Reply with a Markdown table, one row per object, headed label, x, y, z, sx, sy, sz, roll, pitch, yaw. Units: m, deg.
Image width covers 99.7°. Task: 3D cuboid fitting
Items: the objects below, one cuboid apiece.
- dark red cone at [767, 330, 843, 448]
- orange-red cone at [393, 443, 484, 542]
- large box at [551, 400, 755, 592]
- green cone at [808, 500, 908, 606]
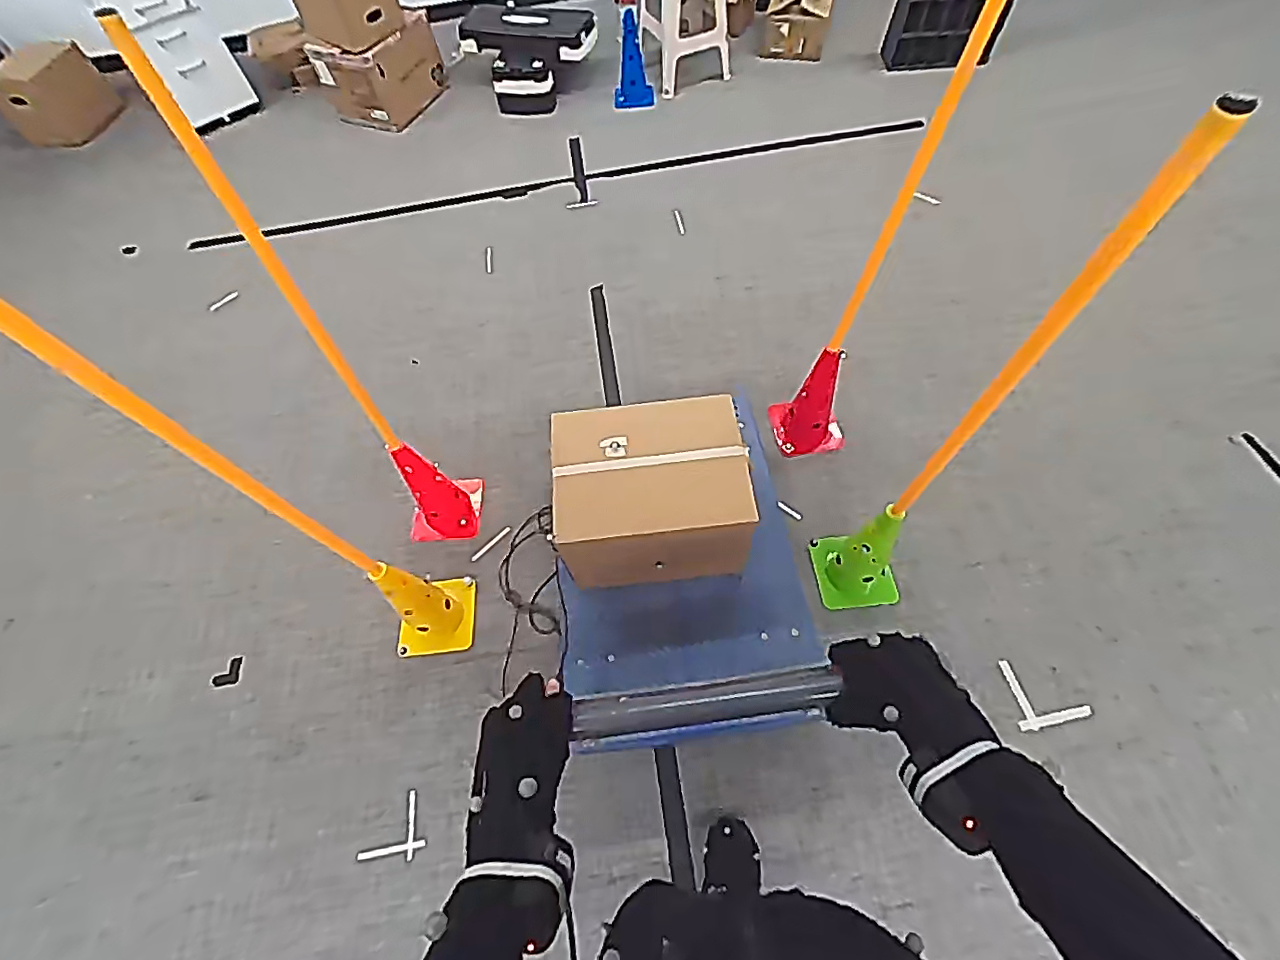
| label | x | y | z | sx | sy | sz | roll | pitch | yaw |
| --- | --- | --- | --- | --- | --- | --- | --- | --- | --- |
| dark red cone | 0.506 | -0.271 | 1.547 | 0.201 | 0.394 | 0.202 | -9 | 60 | -3 |
| orange-red cone | -0.592 | 0.010 | 1.503 | 0.198 | 0.360 | 0.199 | -3 | 59 | 2 |
| large box | 0.027 | 0.051 | 1.260 | 0.408 | 0.320 | 0.320 | -7 | 61 | 2 |
| green cone | 0.564 | 0.153 | 1.319 | 0.202 | 0.368 | 0.200 | -6 | 60 | 0 |
